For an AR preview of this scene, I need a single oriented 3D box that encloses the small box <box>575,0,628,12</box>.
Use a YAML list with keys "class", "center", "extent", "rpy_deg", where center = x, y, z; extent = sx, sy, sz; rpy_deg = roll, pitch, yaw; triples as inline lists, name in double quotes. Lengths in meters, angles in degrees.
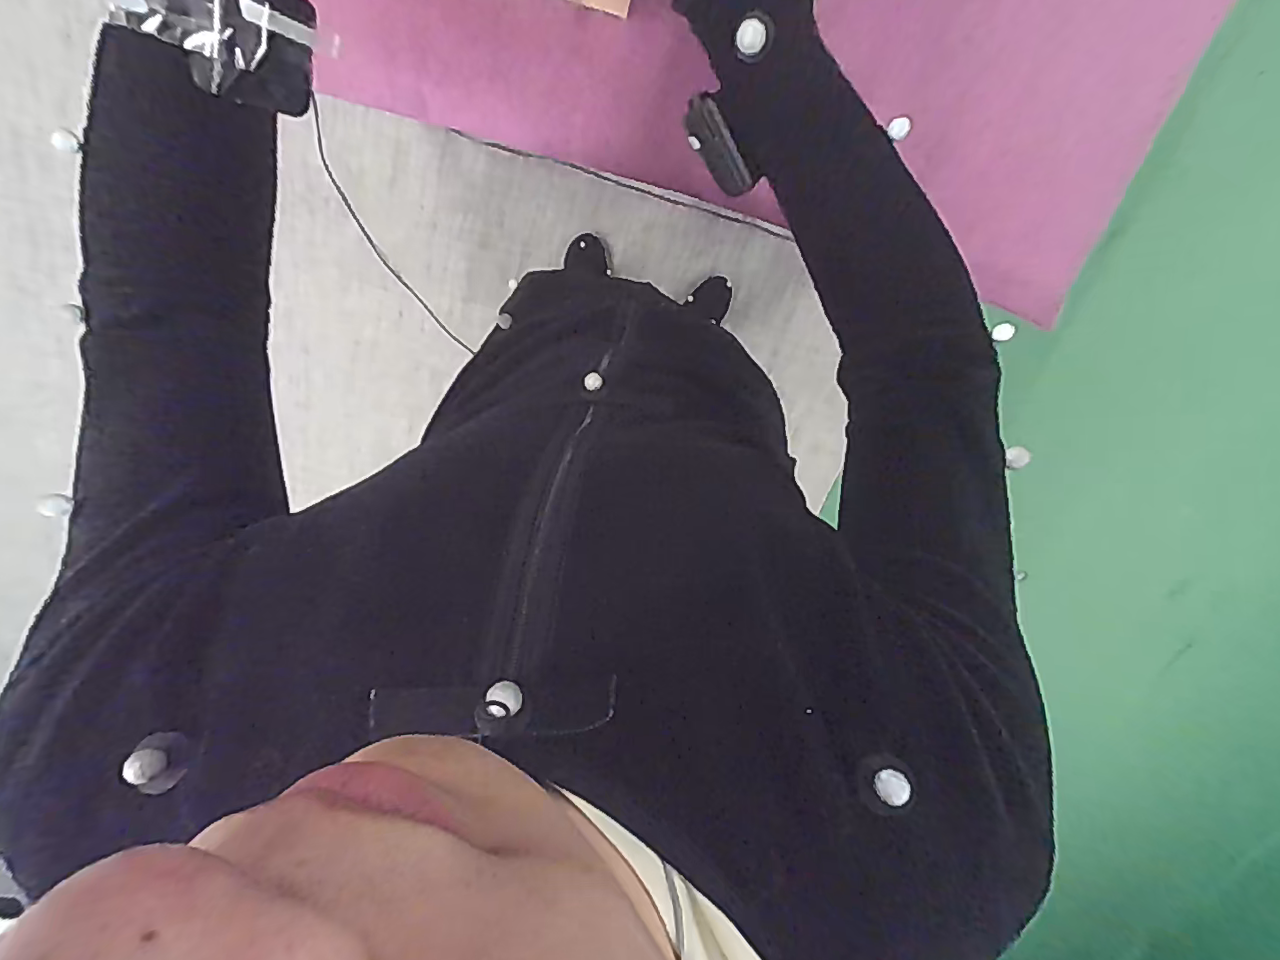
- class: "small box"
  center: [-0.071, -0.616, 0.531]
  extent: [0.168, 0.176, 0.179]
  rpy_deg: [12, 115, -8]
